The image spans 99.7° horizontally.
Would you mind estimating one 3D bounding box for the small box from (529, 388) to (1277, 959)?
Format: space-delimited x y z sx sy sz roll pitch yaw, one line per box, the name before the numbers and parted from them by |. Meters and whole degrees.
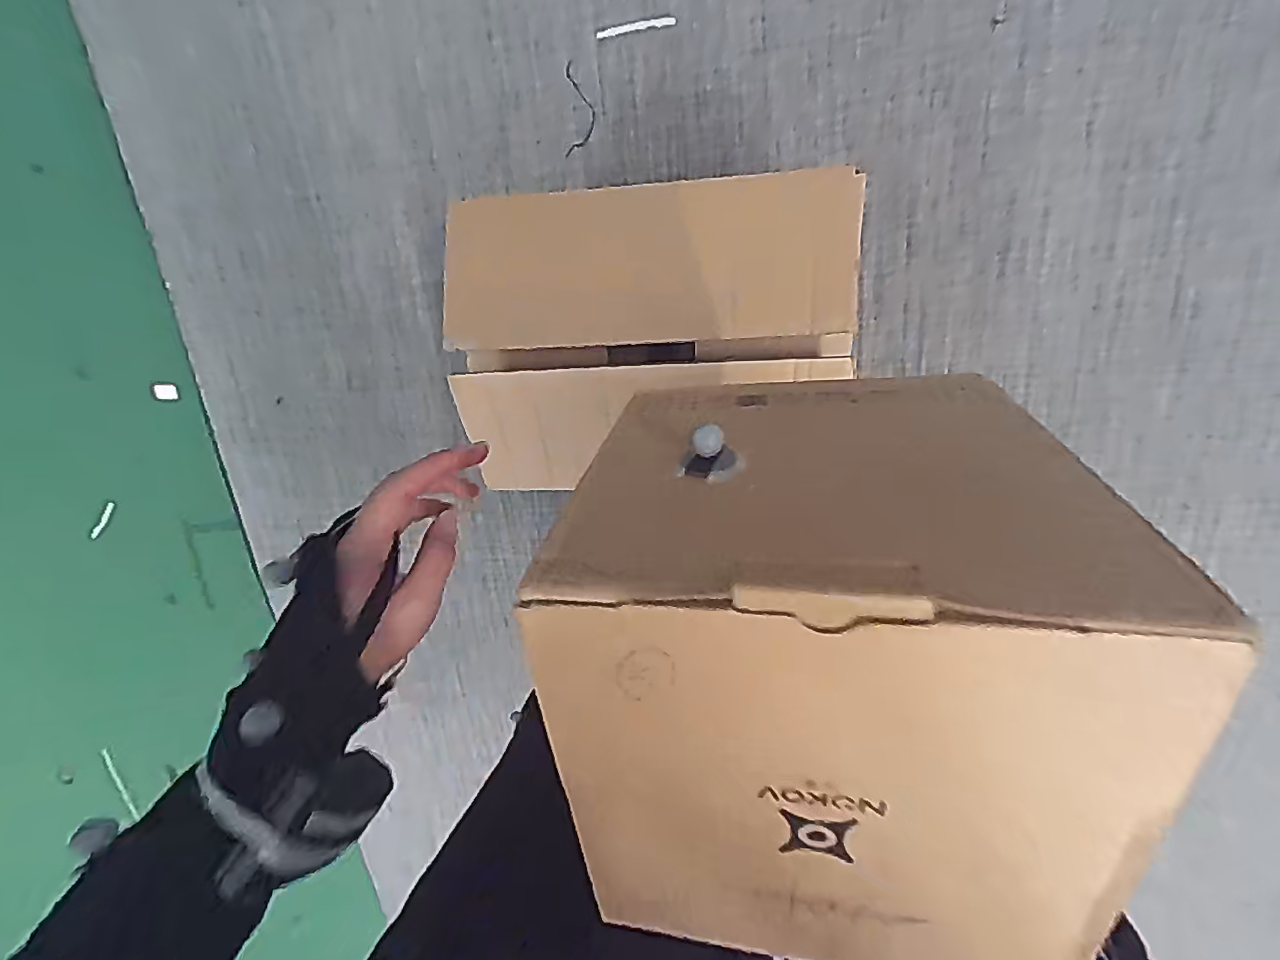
small box | 0.074 0.065 0.232 0.168 0.176 0.179 0 119 14
